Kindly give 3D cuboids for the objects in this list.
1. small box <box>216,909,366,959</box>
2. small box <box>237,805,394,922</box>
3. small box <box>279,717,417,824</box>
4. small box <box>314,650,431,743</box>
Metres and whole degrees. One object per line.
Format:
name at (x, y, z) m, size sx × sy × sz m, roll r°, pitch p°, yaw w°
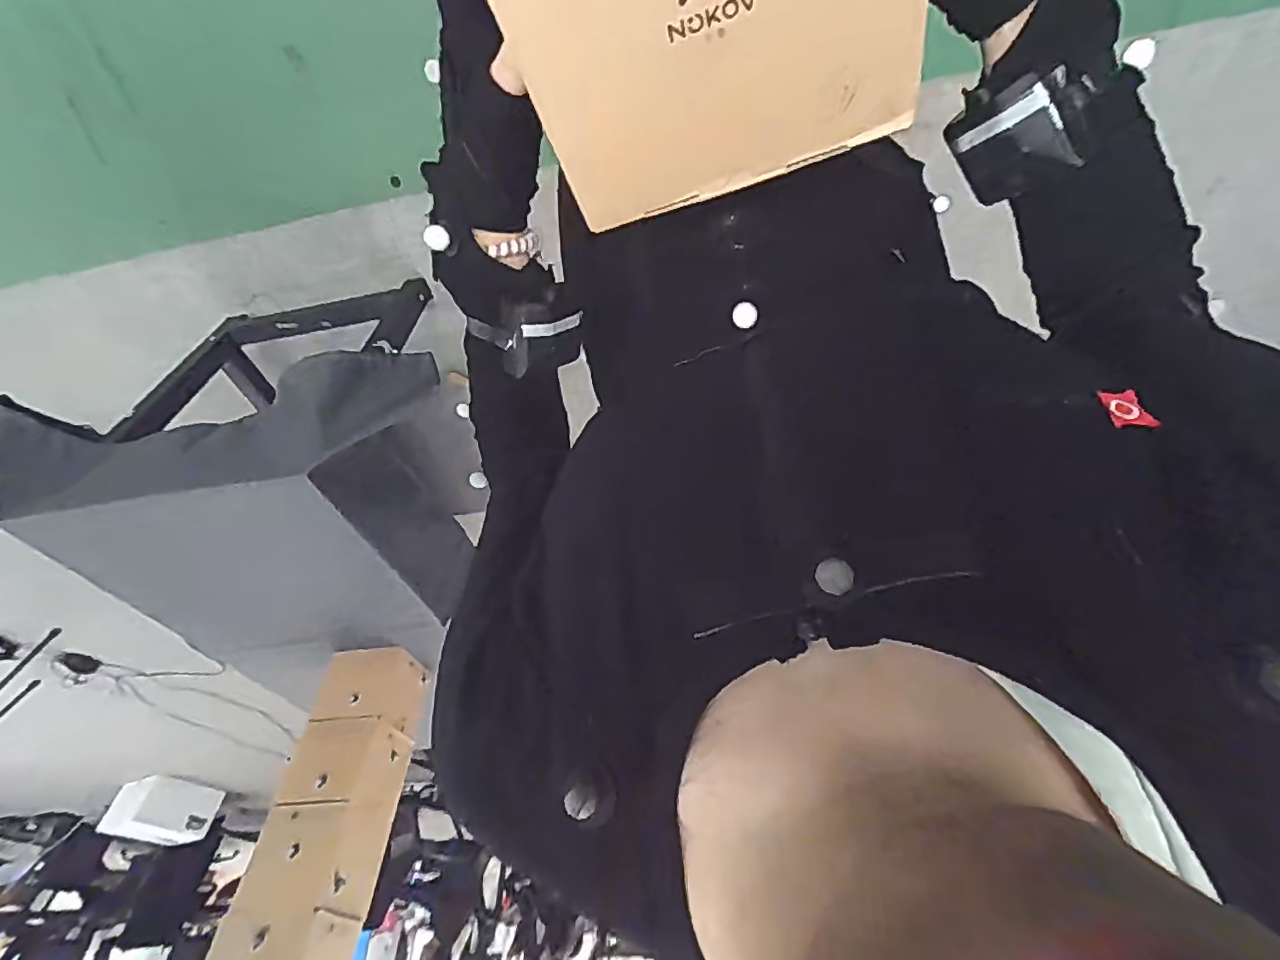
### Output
small box at (-0.616, 0.858, 0.933) m, size 0.179 × 0.176 × 0.168 m, roll -6°, pitch 134°, yaw 6°
small box at (-0.615, 0.746, 1.052) m, size 0.168 × 0.176 × 0.179 m, roll -7°, pitch 134°, yaw 7°
small box at (-0.618, 0.631, 1.170) m, size 0.179 × 0.176 × 0.168 m, roll -8°, pitch 134°, yaw 8°
small box at (-0.619, 0.518, 1.285) m, size 0.179 × 0.176 × 0.168 m, roll -8°, pitch 134°, yaw 9°
